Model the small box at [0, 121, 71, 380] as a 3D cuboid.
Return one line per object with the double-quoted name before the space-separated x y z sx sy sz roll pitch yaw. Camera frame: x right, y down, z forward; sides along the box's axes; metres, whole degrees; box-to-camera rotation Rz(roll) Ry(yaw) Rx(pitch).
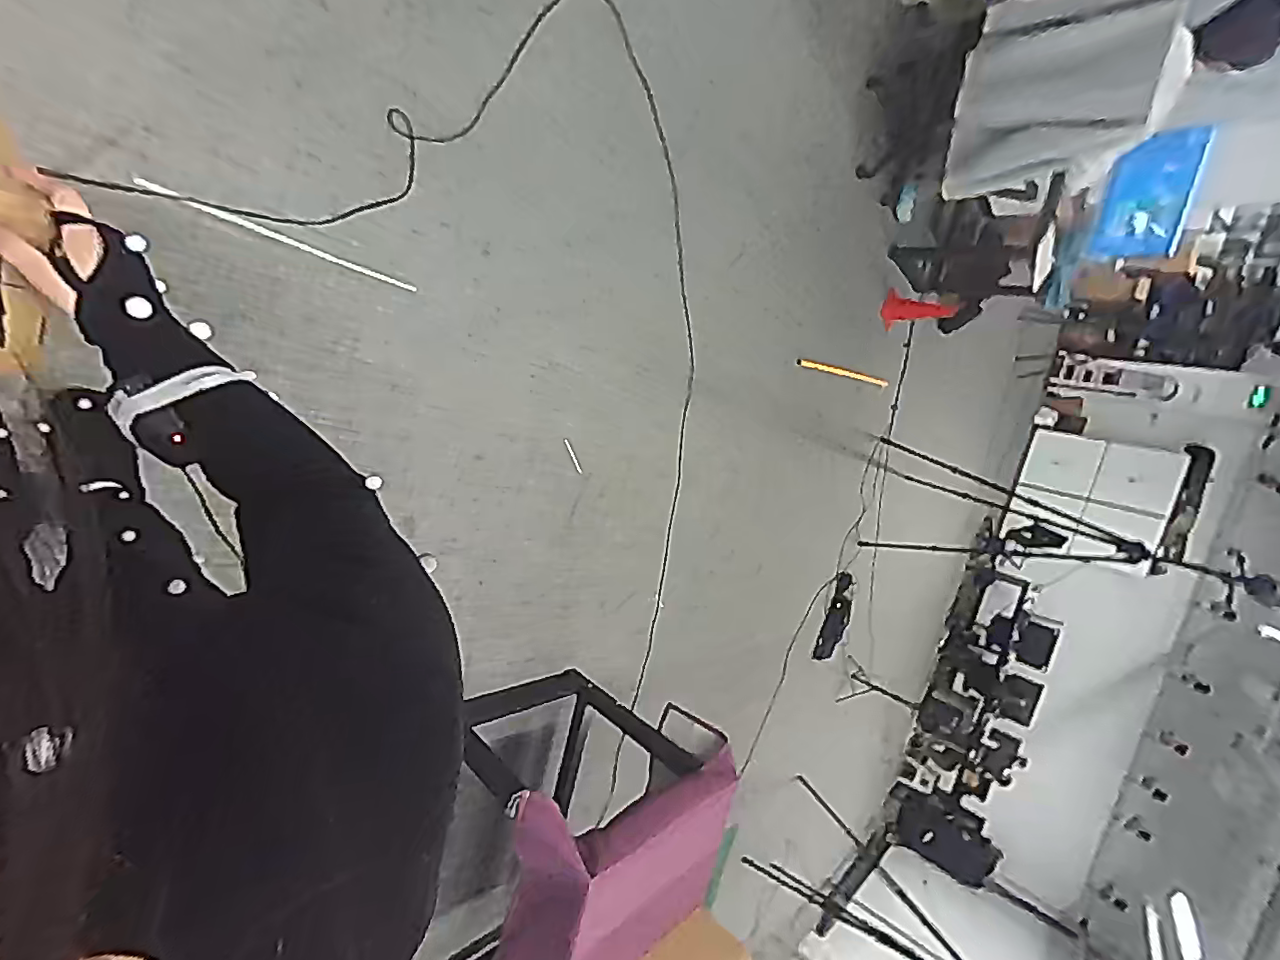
"small box" -0.588 -0.197 0.411 0.168 0.176 0.179 -53 158 24
